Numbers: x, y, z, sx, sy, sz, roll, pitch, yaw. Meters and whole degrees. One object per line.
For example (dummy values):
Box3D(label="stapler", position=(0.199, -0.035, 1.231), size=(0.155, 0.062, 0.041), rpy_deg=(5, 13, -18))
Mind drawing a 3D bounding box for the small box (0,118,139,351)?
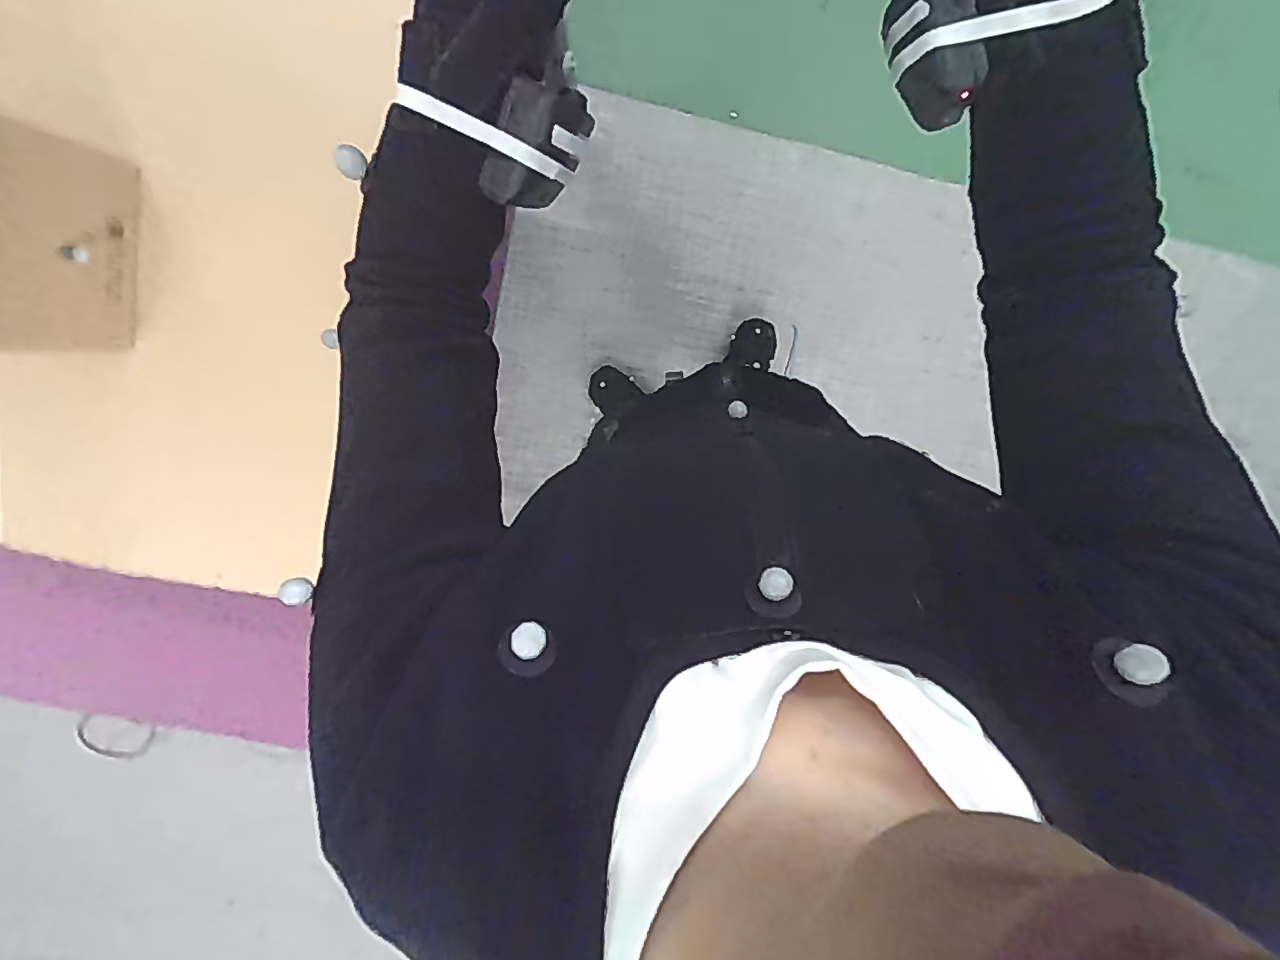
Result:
Box3D(label="small box", position=(-0.534, -0.193, 0.396), size=(0.179, 0.176, 0.168), rpy_deg=(14, 103, -5))

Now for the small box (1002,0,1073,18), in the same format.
Box3D(label="small box", position=(0.906, -1.153, 1.162), size=(0.168, 0.176, 0.179), rpy_deg=(12, 104, -6))
